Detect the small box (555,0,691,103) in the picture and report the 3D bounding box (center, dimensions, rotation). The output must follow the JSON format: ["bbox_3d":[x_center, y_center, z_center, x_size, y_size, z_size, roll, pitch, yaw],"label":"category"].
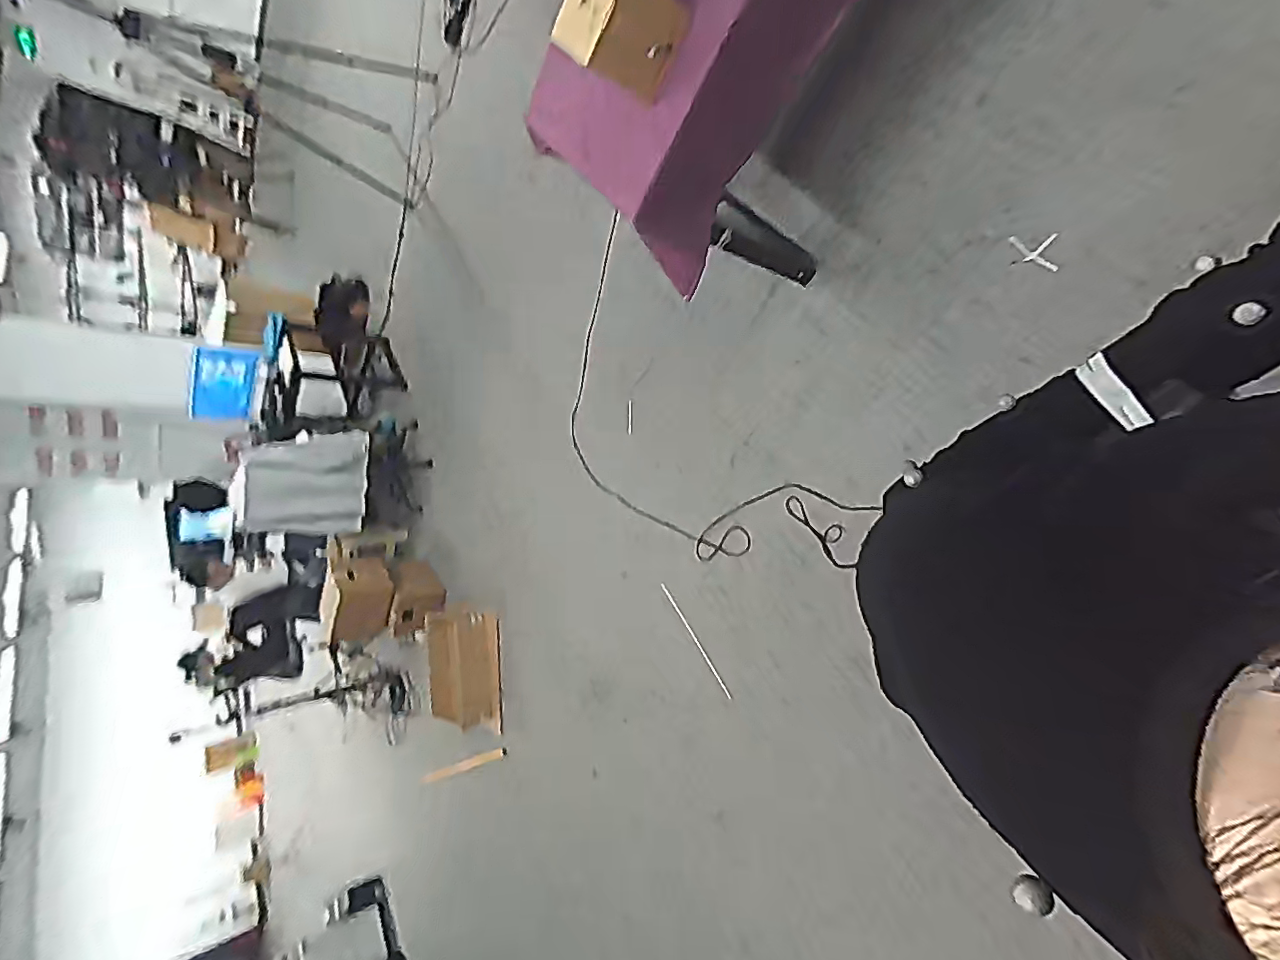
[{"bbox_3d":[-0.035,-0.891,1.068,0.168,0.176,0.179,-54,55,32],"label":"small box"}]
